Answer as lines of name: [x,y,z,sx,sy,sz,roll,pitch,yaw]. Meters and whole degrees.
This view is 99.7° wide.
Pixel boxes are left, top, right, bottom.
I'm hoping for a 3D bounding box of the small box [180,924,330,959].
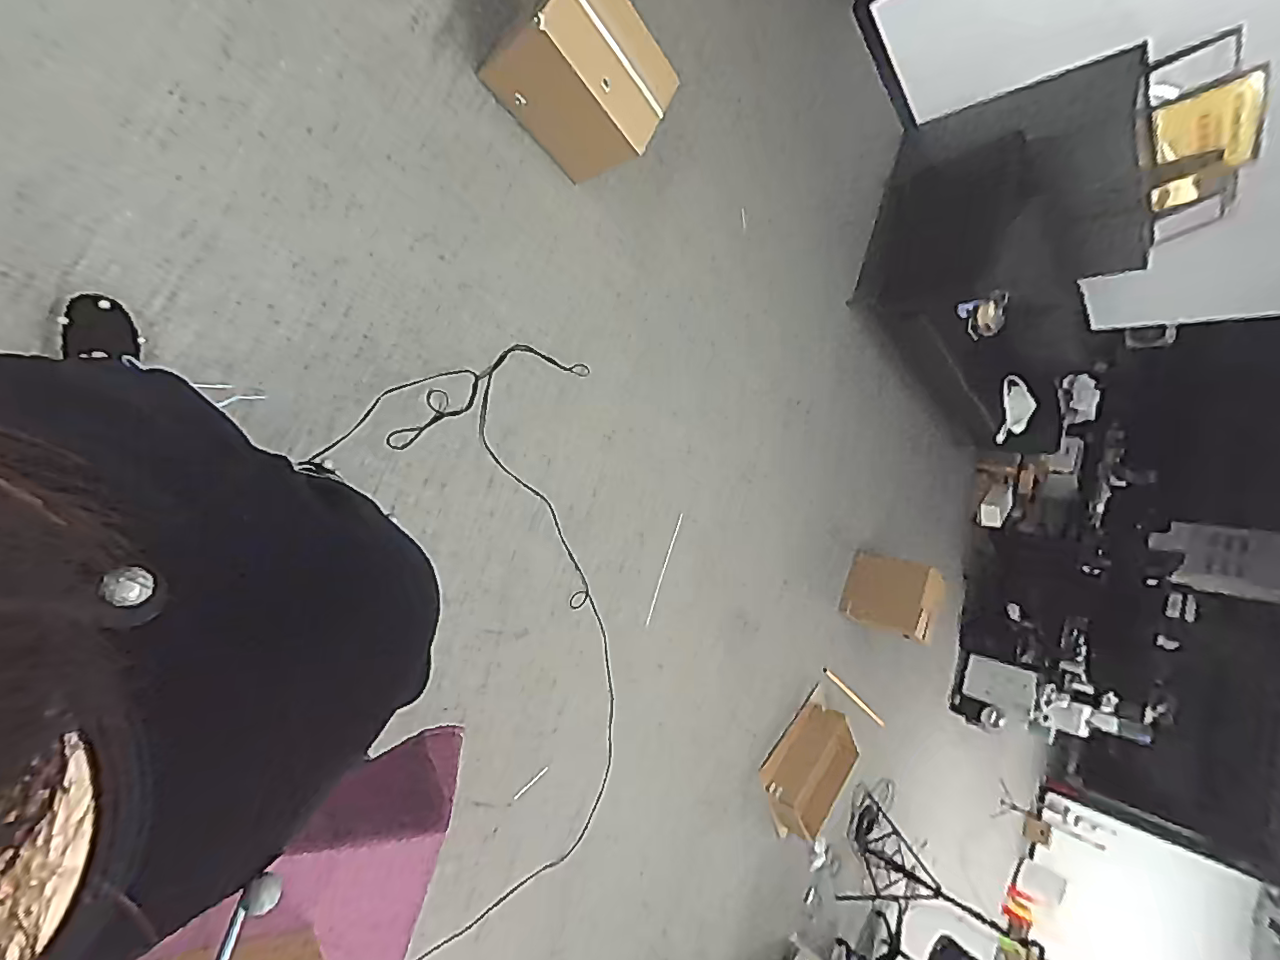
small box: [-0.483,0.677,0.634,0.179,0.176,0.168,26,79,-43]
